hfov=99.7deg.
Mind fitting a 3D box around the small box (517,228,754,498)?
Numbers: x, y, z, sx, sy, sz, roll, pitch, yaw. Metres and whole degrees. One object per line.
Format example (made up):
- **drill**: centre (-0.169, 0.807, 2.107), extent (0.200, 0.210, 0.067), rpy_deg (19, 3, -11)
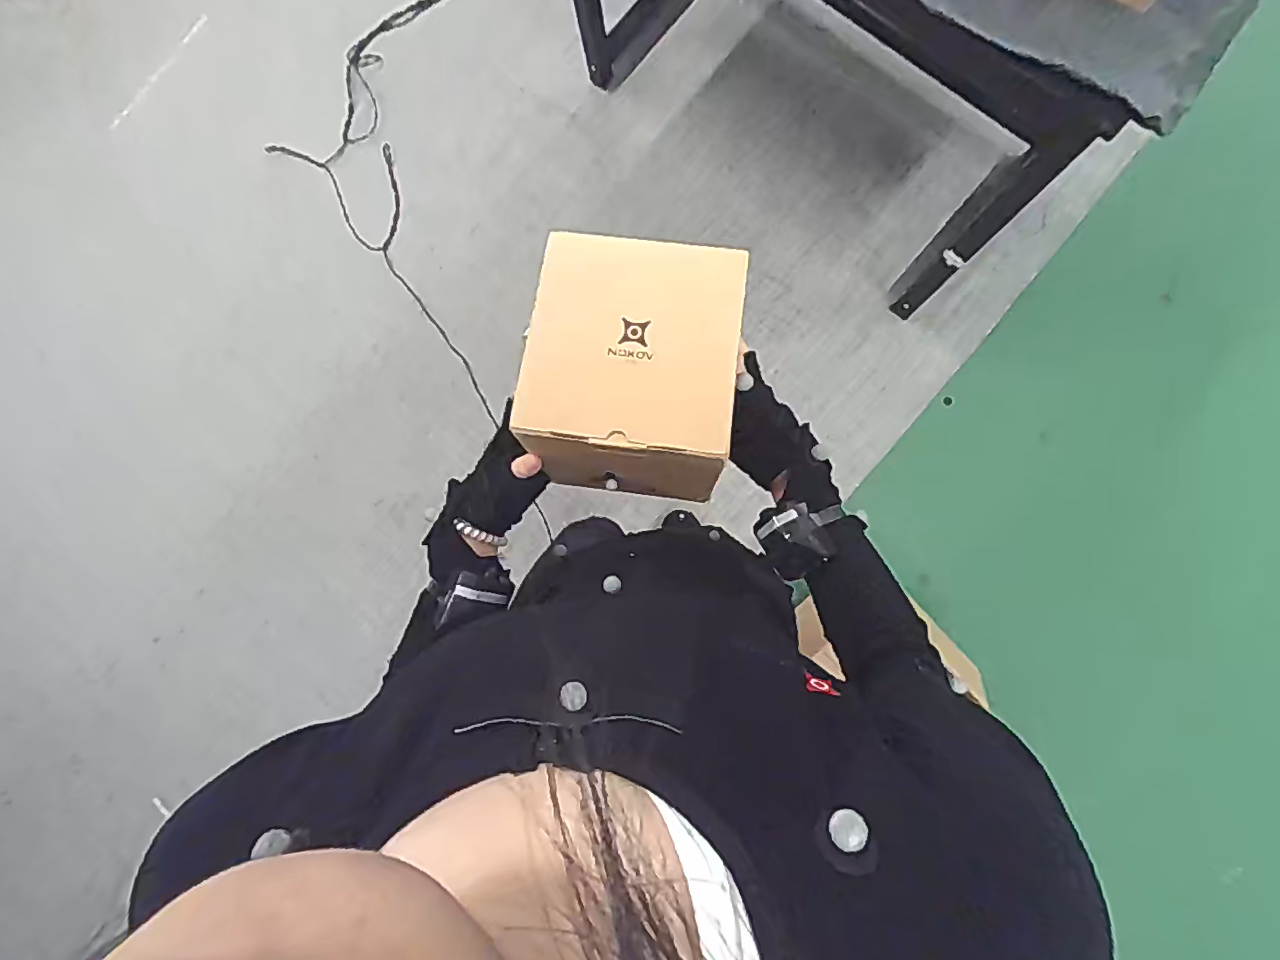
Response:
- **small box**: centre (0.000, -0.093, 0.495), extent (0.168, 0.176, 0.179), rpy_deg (7, 77, 3)
